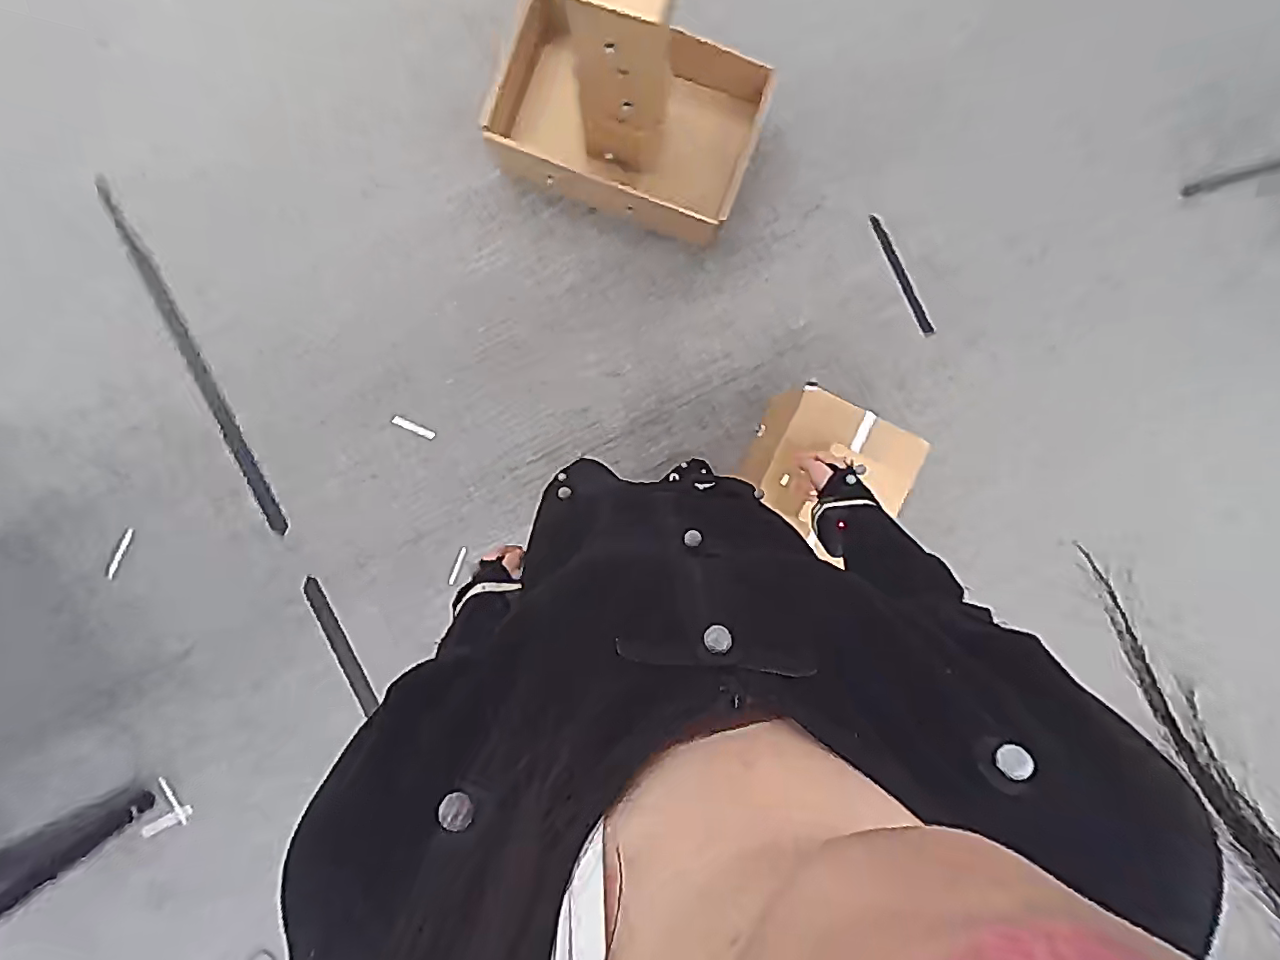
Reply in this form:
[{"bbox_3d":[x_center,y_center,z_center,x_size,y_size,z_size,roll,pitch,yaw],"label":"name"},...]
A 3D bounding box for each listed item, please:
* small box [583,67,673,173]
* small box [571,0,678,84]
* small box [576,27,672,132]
[{"bbox_3d":[-0.031,-0.907,1.335,0.168,0.176,0.179,20,92,-2],"label":"small box"},{"bbox_3d":[-0.020,-0.893,1.008,0.168,0.176,0.179,16,92,-4],"label":"small box"},{"bbox_3d":[-0.031,-0.905,1.173,0.168,0.176,0.179,16,91,-4],"label":"small box"}]
